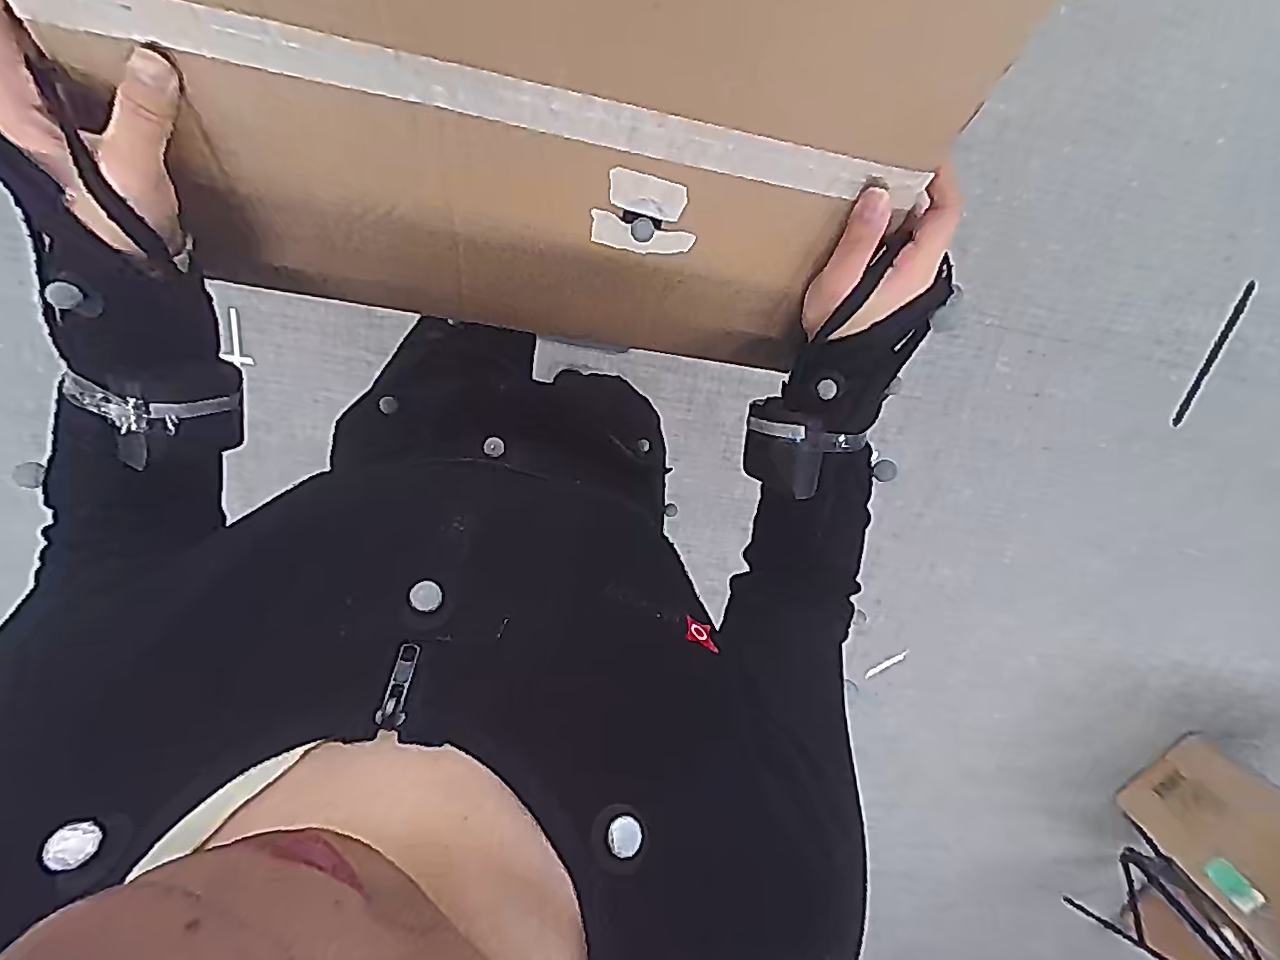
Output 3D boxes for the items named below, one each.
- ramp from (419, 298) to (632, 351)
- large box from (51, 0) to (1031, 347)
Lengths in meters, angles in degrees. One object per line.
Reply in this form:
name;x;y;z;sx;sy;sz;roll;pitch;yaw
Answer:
ramp;-0.165;-0.754;1.016;0.509;0.206;0.991;6;113;-10
large box;-0.049;-0.318;0.317;0.408;0.320;0.320;6;155;-10
